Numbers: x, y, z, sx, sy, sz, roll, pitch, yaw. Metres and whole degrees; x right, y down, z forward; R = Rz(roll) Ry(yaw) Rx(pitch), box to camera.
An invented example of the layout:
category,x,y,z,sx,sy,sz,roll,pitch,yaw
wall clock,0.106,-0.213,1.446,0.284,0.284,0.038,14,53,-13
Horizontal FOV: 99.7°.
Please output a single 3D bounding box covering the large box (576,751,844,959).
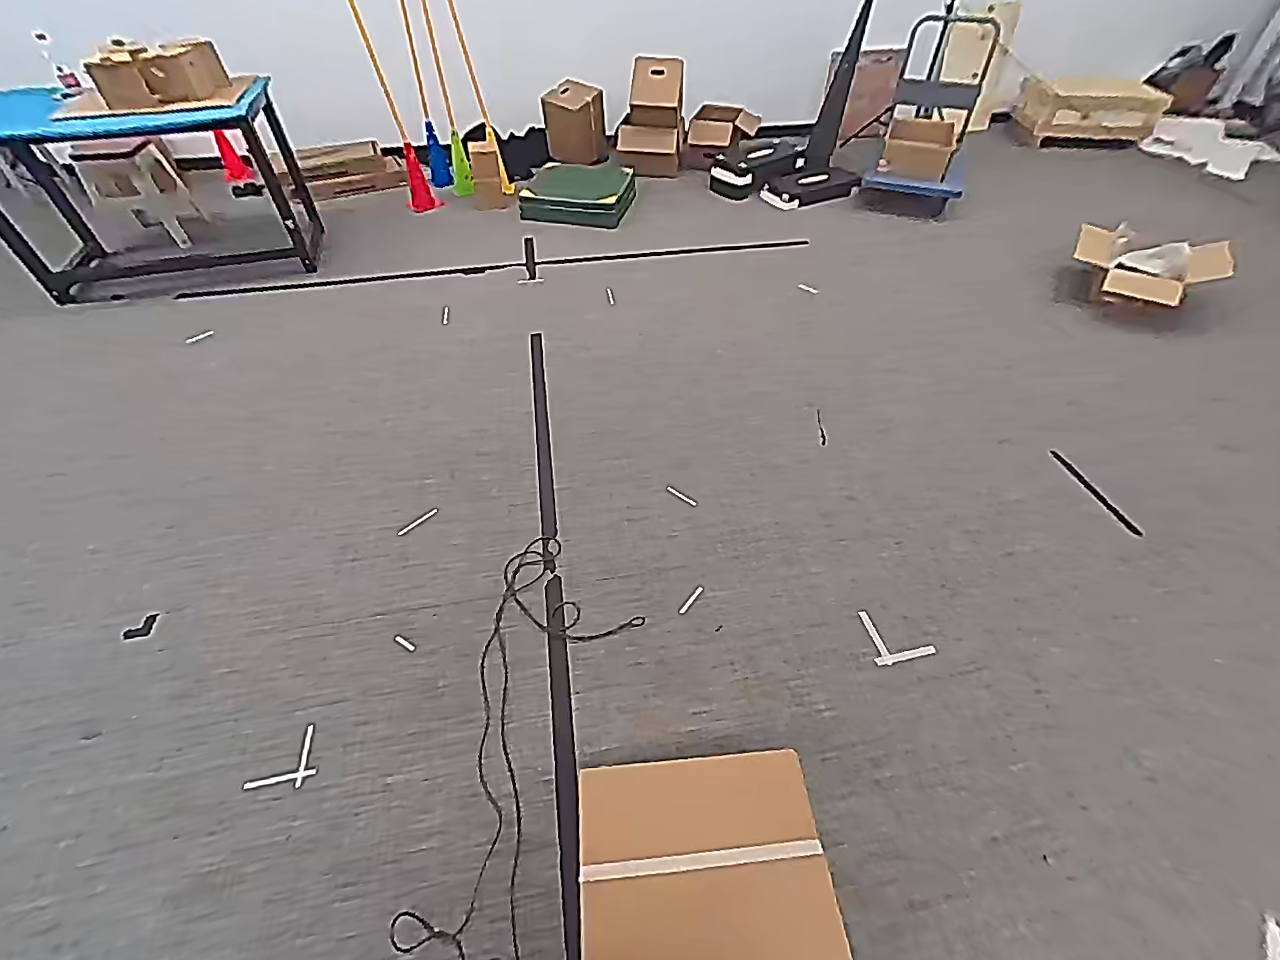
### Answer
category,x,y,z,sx,sy,sz,roll,pitch,yaw
large box,0.096,0.733,1.003,0.408,0.320,0.320,-3,46,-4
